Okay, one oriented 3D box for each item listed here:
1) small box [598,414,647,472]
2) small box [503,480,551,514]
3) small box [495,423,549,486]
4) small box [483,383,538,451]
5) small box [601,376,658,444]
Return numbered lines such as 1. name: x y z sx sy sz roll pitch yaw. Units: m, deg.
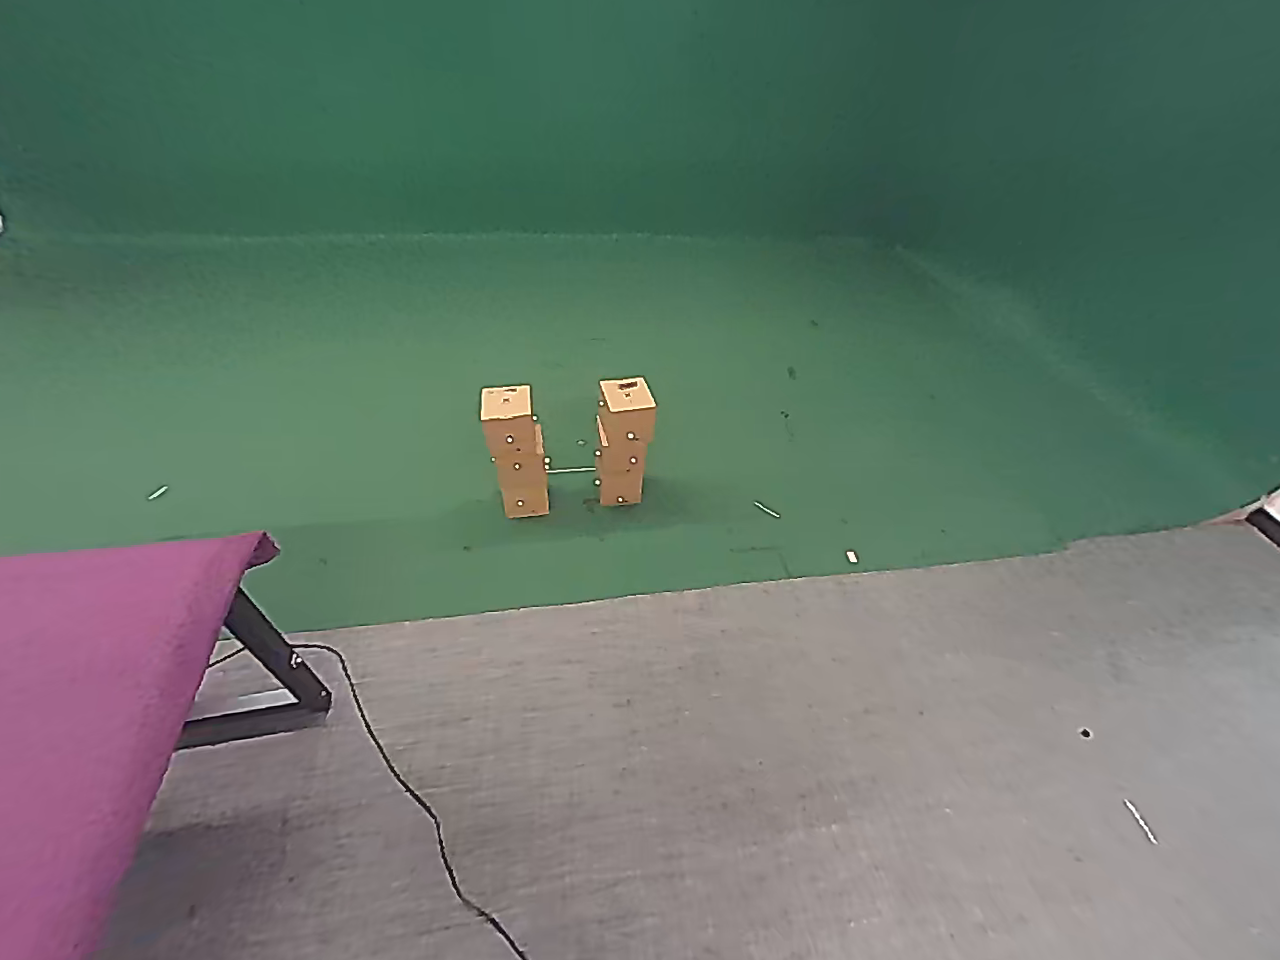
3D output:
1. small box: -0.069 -0.141 2.077 0.168 0.176 0.179 -4 47 -10
2. small box: -0.442 0.020 2.123 0.168 0.176 0.179 -6 46 -9
3. small box: -0.436 -0.092 2.002 0.179 0.176 0.168 -5 46 -9
4. small box: -0.450 -0.215 1.892 0.168 0.176 0.179 -5 47 -8
5. small box: -0.043 -0.255 1.961 0.168 0.176 0.179 -9 49 -14
